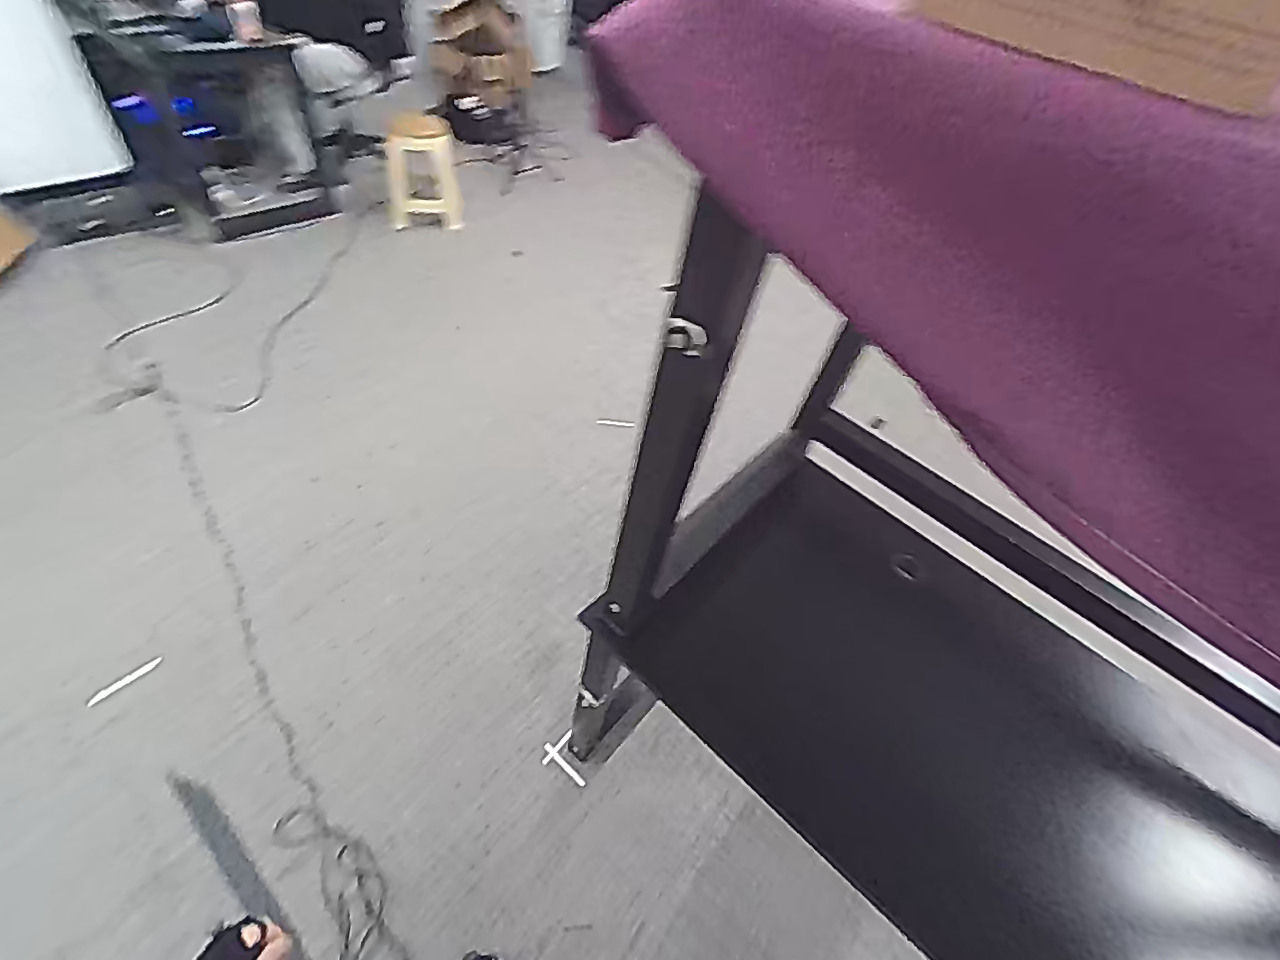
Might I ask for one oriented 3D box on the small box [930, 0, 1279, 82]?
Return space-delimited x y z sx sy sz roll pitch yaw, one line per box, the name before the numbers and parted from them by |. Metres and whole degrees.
small box | 0.267 -0.302 0.242 0.179 0.176 0.168 31 50 14
